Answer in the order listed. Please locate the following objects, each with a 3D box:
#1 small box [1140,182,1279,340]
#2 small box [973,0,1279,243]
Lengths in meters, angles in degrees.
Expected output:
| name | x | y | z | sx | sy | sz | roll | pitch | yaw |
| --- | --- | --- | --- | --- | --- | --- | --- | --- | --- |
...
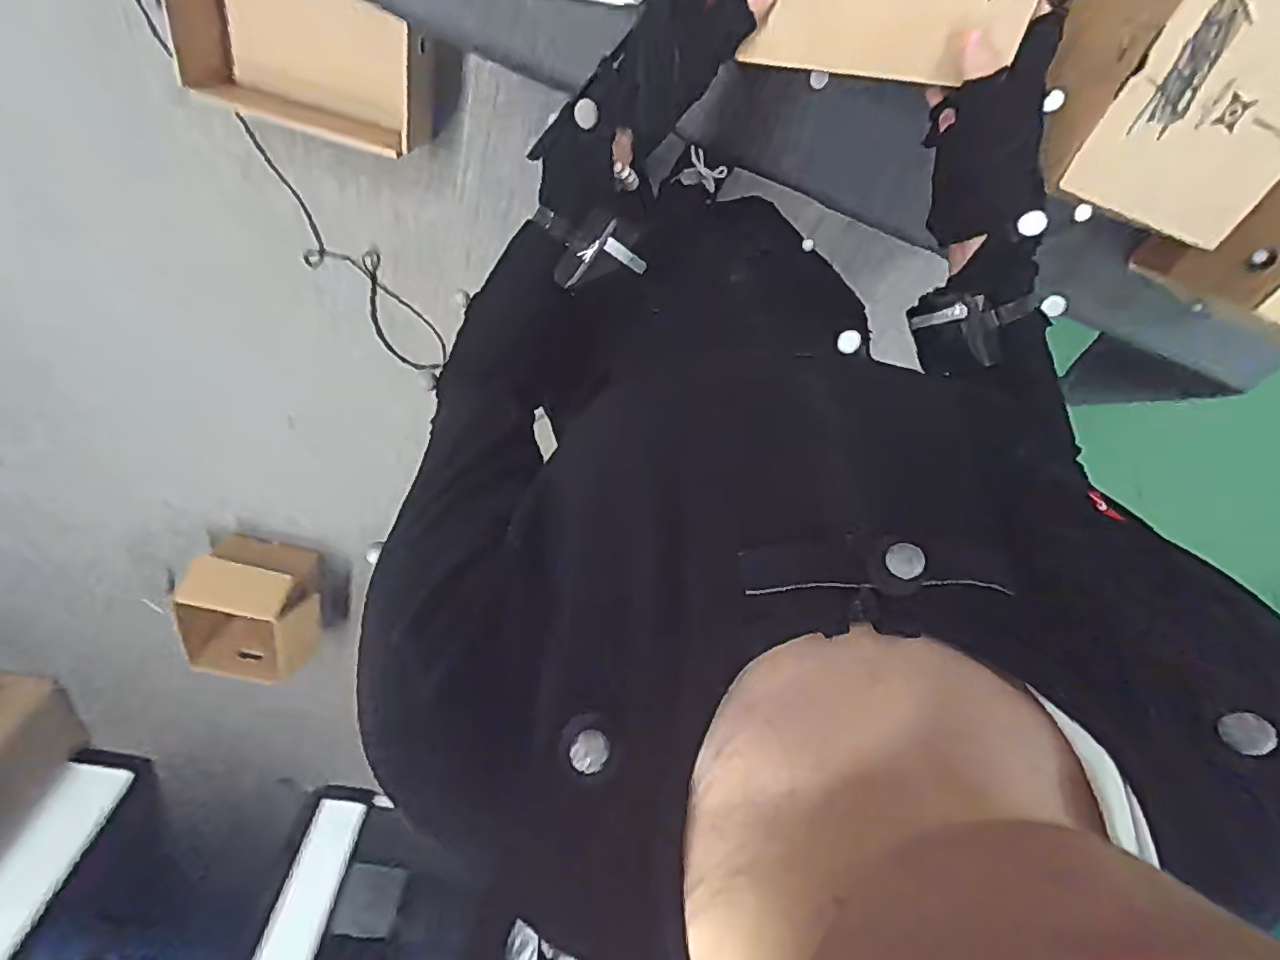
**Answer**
| name | x | y | z | sx | sy | sz | roll | pitch | yaw |
| --- | --- | --- | --- | --- | --- | --- | --- | --- | --- |
| small box | 0.675 | -0.245 | 0.534 | 0.168 | 0.176 | 0.179 | 19 | 125 | -14 |
| small box | 0.438 | -0.332 | 0.463 | 0.179 | 0.176 | 0.168 | 14 | 127 | -12 |
